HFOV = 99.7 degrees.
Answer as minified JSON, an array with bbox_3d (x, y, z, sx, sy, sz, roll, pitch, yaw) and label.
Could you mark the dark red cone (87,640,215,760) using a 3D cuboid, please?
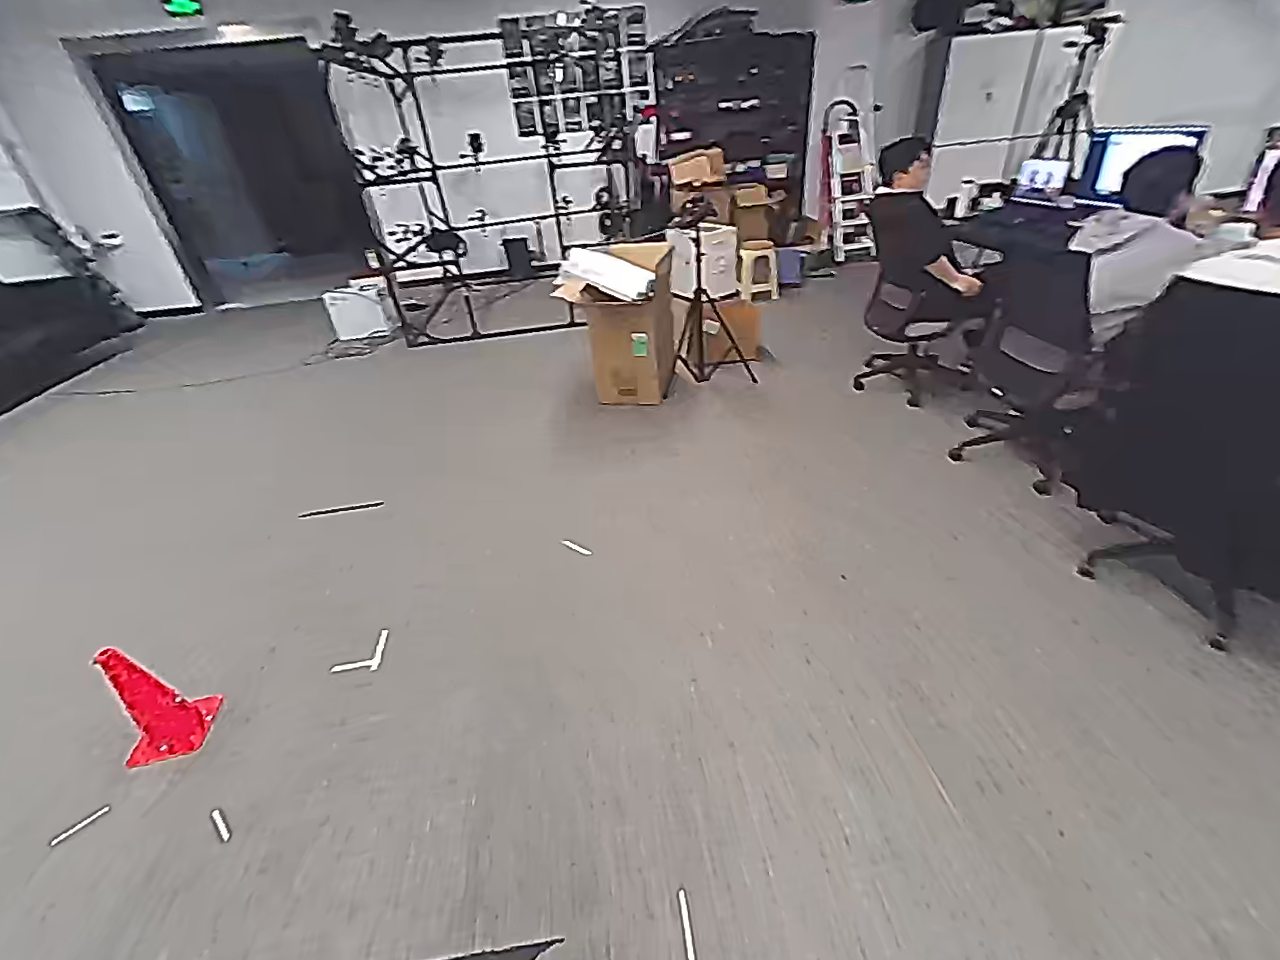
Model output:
[{"bbox_3d":[-1.421,0.596,1.530,0.202,0.394,0.201,-12,34,-9],"label":"dark red cone"}]
